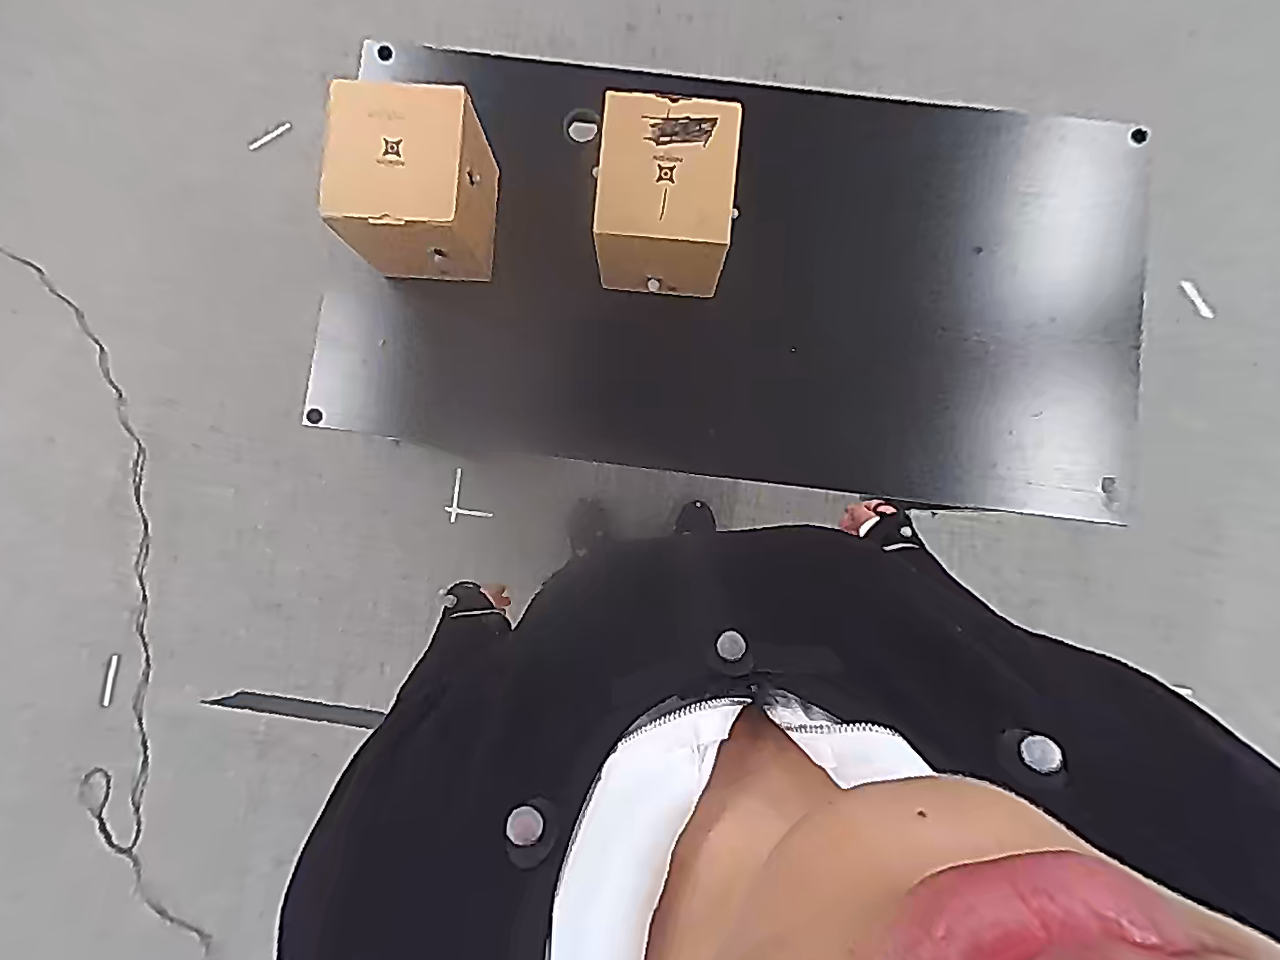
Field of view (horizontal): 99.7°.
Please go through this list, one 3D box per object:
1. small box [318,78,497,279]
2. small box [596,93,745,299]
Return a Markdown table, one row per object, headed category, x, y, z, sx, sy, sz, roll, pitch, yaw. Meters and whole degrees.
| category | x | y | z | sx | sy | sz | roll | pitch | yaw |
| --- | --- | --- | --- | --- | --- | --- | --- | --- | --- |
| small box | -0.296 | -0.387 | 0.723 | 0.168 | 0.176 | 0.179 | 3 | 86 | -1 |
| small box | 0.036 | -0.364 | 0.720 | 0.168 | 0.176 | 0.179 | 6 | 87 | 1 |
